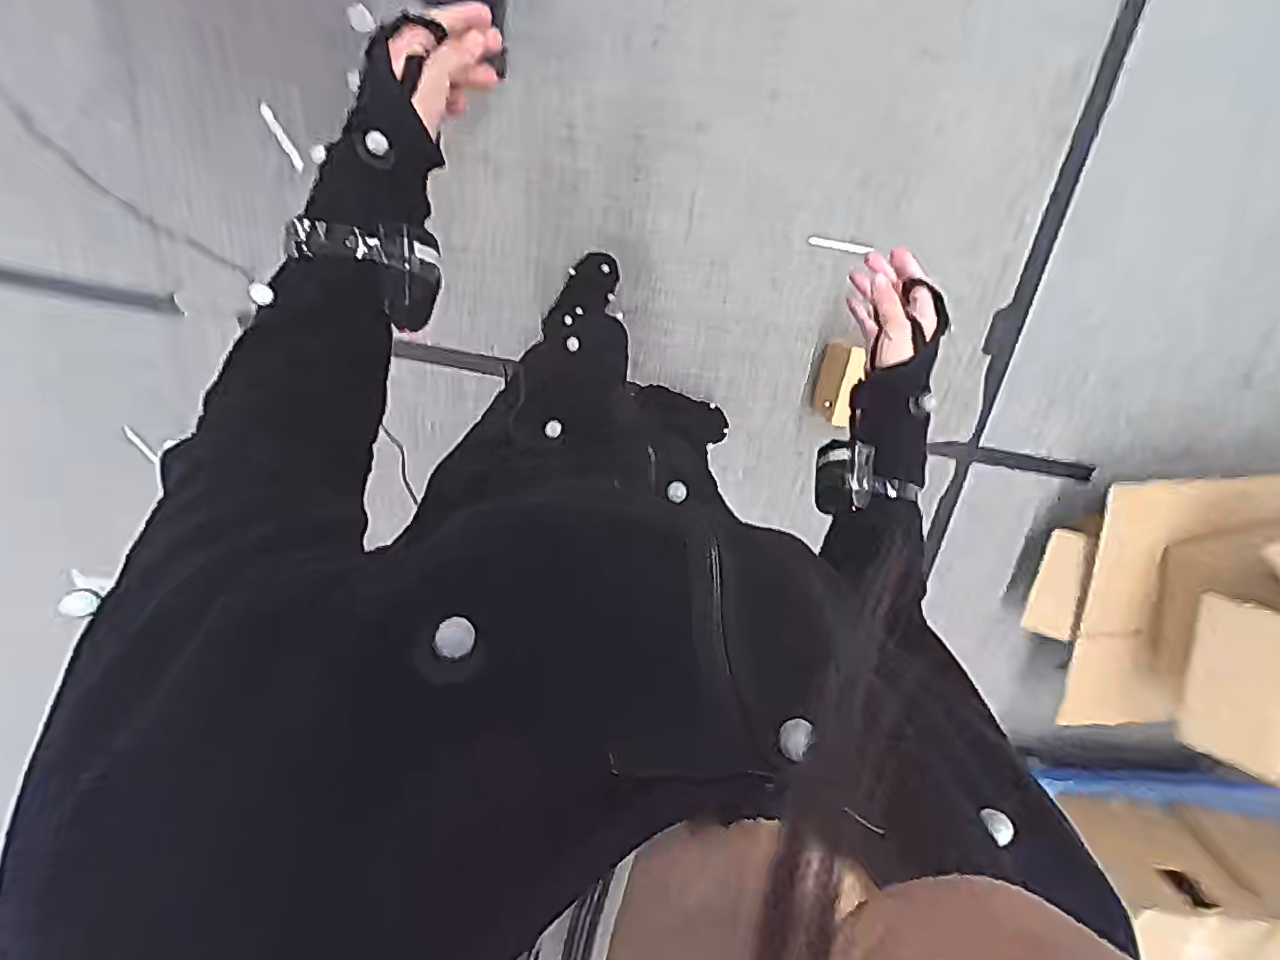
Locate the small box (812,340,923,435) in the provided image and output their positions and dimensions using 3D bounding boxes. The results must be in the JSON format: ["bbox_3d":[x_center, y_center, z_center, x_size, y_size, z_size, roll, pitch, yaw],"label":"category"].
[{"bbox_3d":[0.520,-0.222,1.265,0.168,0.176,0.179,9,112,-2],"label":"small box"}]
